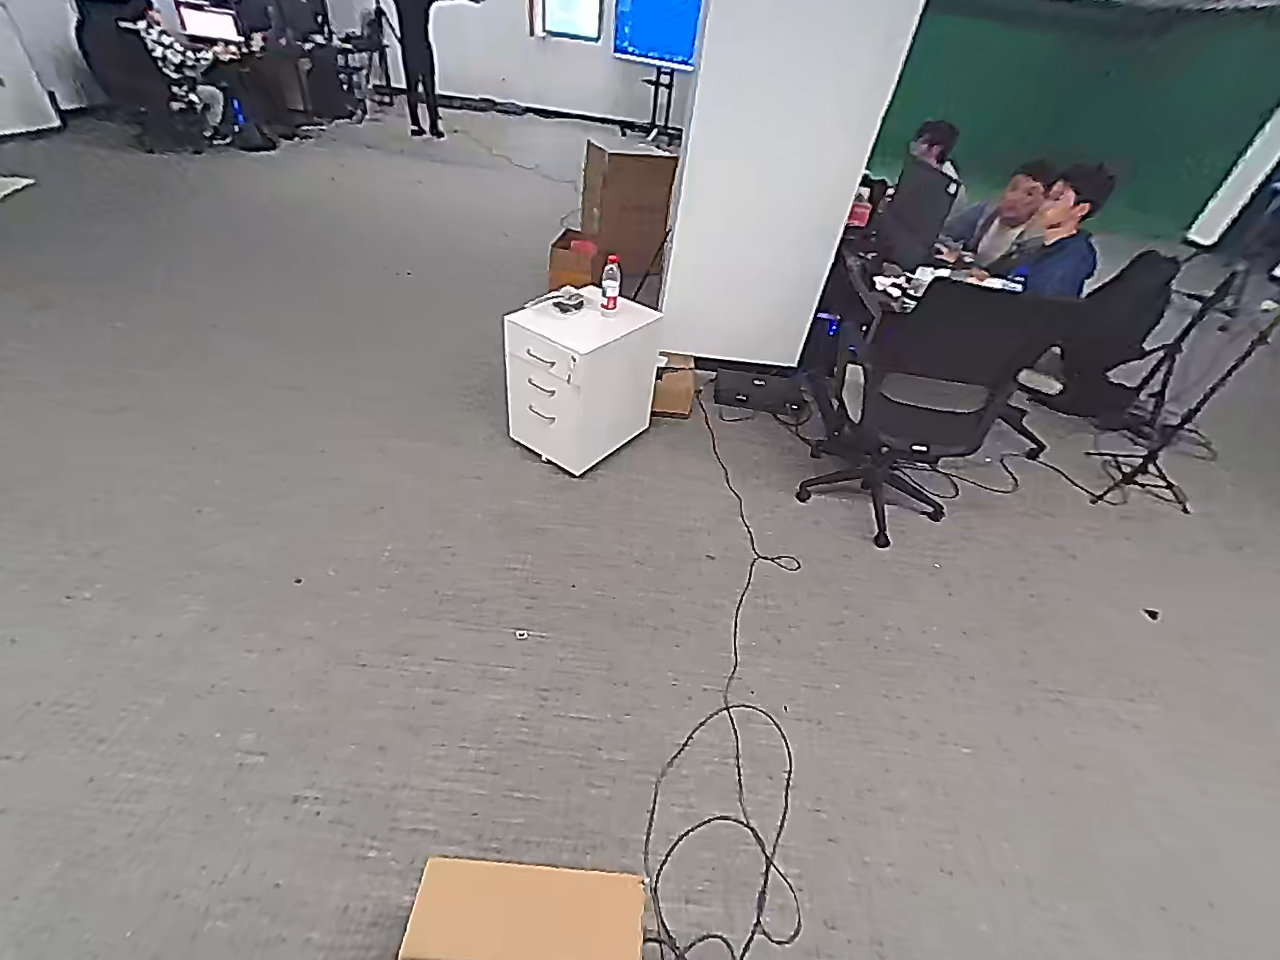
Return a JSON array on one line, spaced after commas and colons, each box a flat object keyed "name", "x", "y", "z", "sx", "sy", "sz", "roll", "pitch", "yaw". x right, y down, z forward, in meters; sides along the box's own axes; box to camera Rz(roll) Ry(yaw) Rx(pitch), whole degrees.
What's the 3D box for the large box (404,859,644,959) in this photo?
[{"name": "large box", "x": -0.213, "y": 0.936, "z": 0.984, "sx": 0.408, "sy": 0.320, "sz": 0.320, "roll": 7, "pitch": 39, "yaw": -2}]
